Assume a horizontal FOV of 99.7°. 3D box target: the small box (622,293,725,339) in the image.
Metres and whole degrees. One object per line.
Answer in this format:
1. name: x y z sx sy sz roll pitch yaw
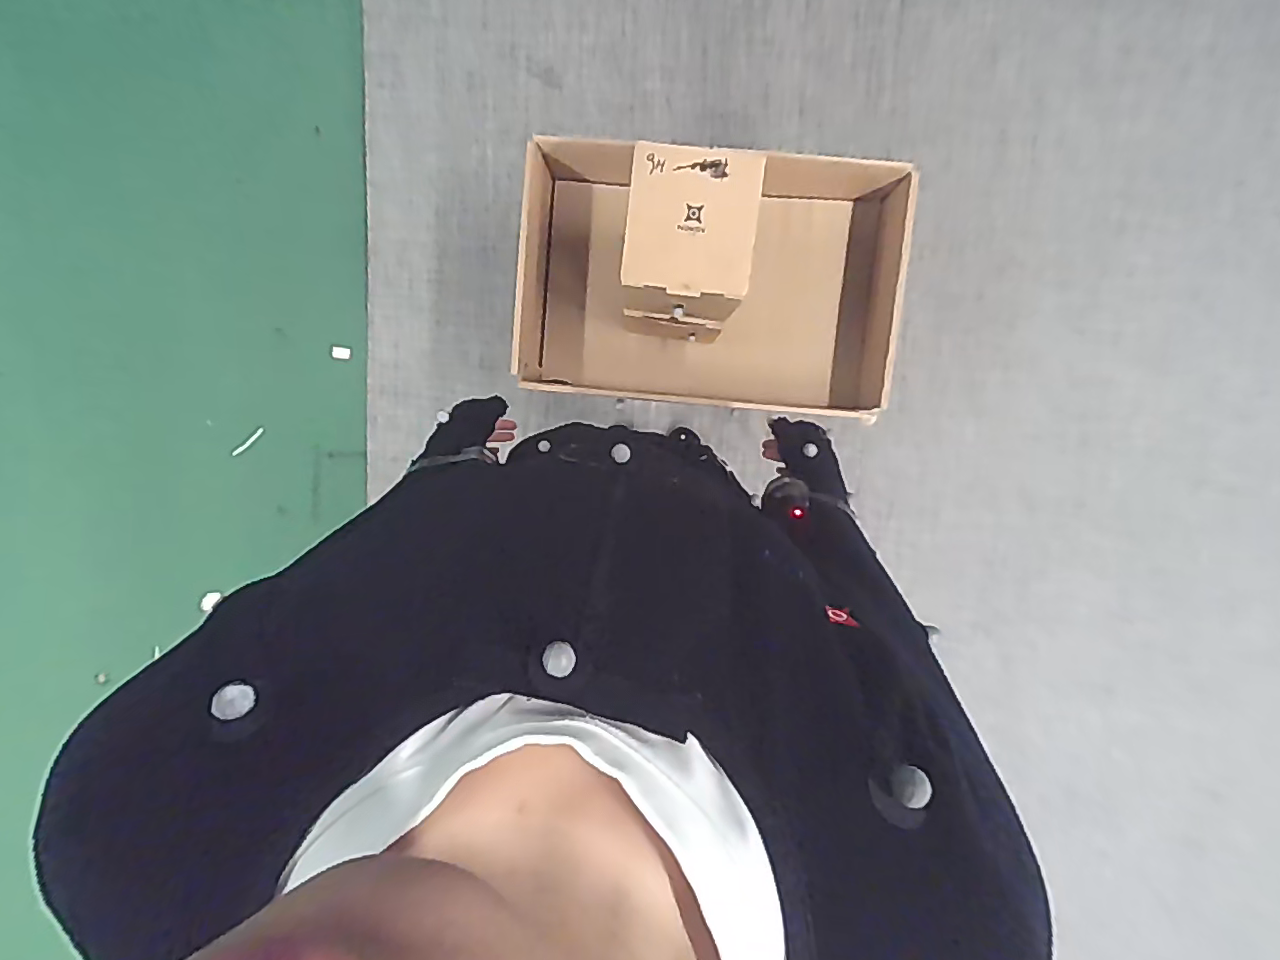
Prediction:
1. small box: 0.064 -0.346 0.921 0.168 0.176 0.179 8 95 -1

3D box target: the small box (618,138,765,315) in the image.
1. small box: 0.064 -0.337 0.757 0.168 0.176 0.179 7 98 -1
